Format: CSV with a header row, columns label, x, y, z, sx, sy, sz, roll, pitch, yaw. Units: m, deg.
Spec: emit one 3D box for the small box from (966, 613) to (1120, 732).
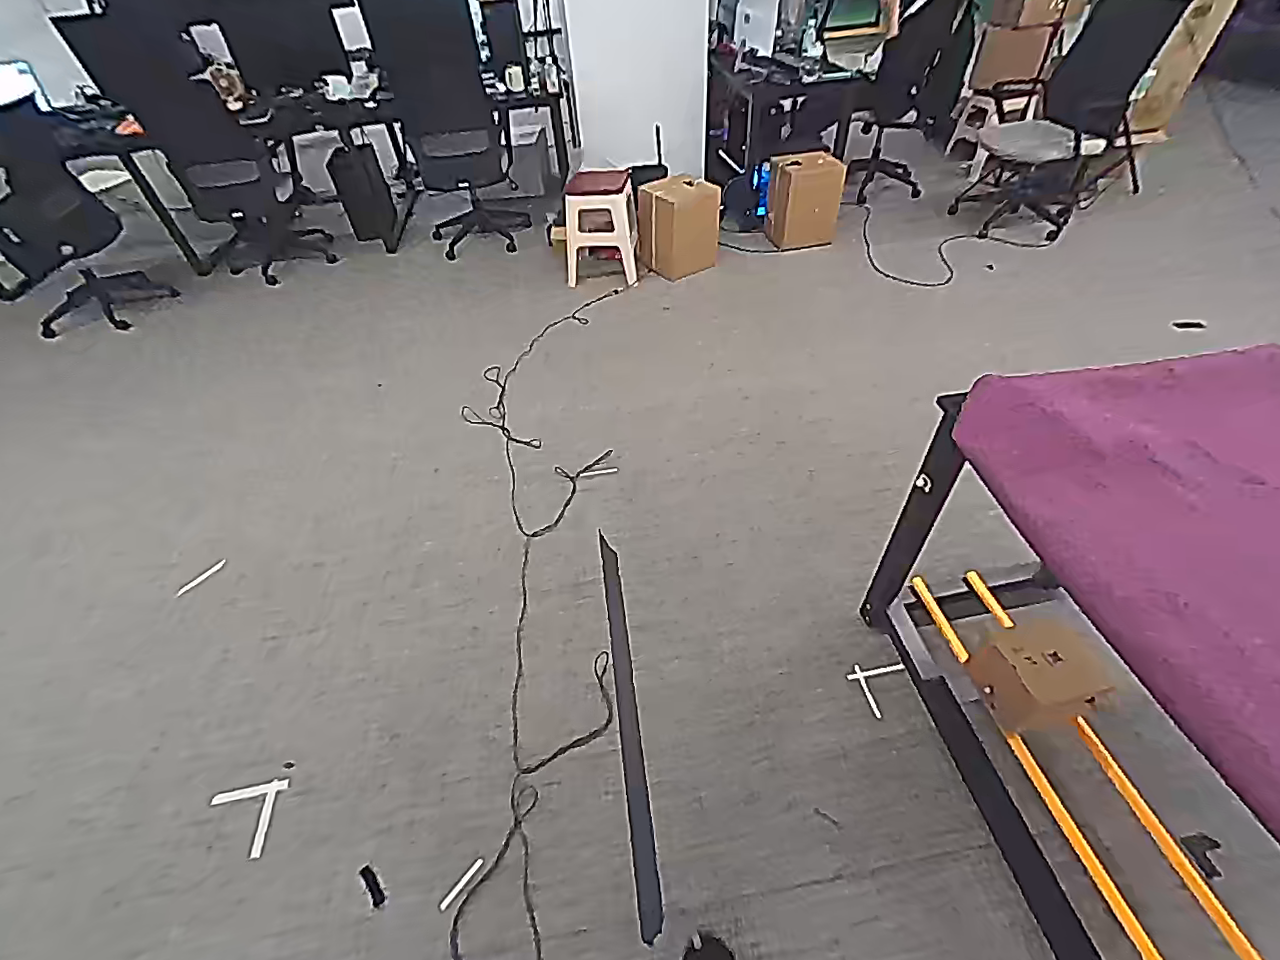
label,x,y,z,sx,sy,sz,roll,pitch,yaw
small box,0.851,0.416,1.165,0.179,0.176,0.168,-13,46,-4
